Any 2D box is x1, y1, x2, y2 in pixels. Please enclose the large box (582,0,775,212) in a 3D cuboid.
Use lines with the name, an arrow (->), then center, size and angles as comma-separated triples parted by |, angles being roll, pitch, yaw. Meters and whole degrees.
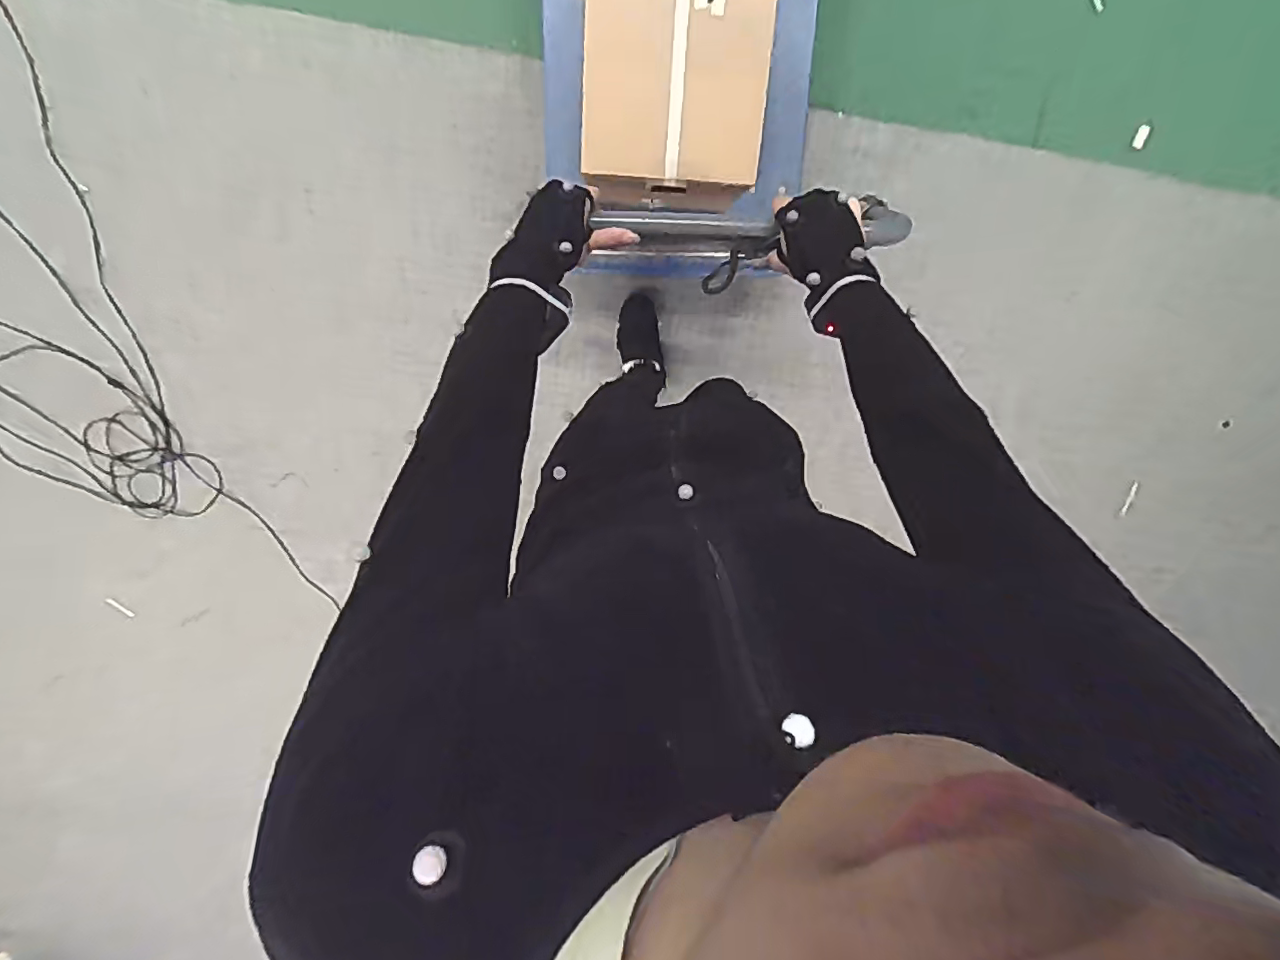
large box -> 0.061, -0.764, 1.042 | 0.320, 0.320, 0.408 | 3, 108, -2
